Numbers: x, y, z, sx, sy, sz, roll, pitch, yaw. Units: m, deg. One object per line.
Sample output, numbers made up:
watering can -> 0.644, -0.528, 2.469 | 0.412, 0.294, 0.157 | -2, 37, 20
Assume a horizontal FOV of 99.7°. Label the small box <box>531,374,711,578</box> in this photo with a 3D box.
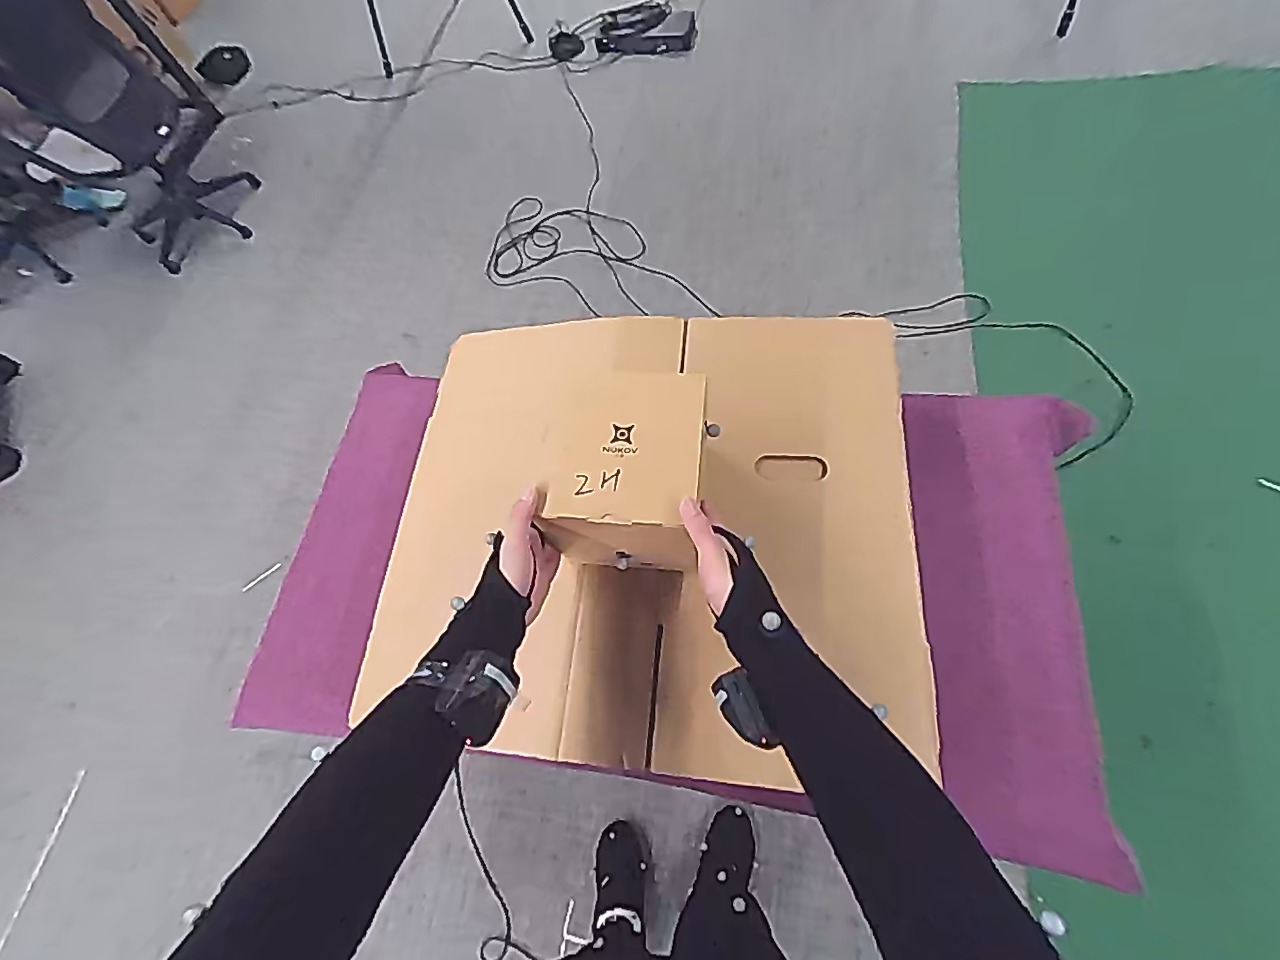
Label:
small box -> -0.008, 0.001, 0.621 | 0.168, 0.176, 0.179 | 4, 66, 9
